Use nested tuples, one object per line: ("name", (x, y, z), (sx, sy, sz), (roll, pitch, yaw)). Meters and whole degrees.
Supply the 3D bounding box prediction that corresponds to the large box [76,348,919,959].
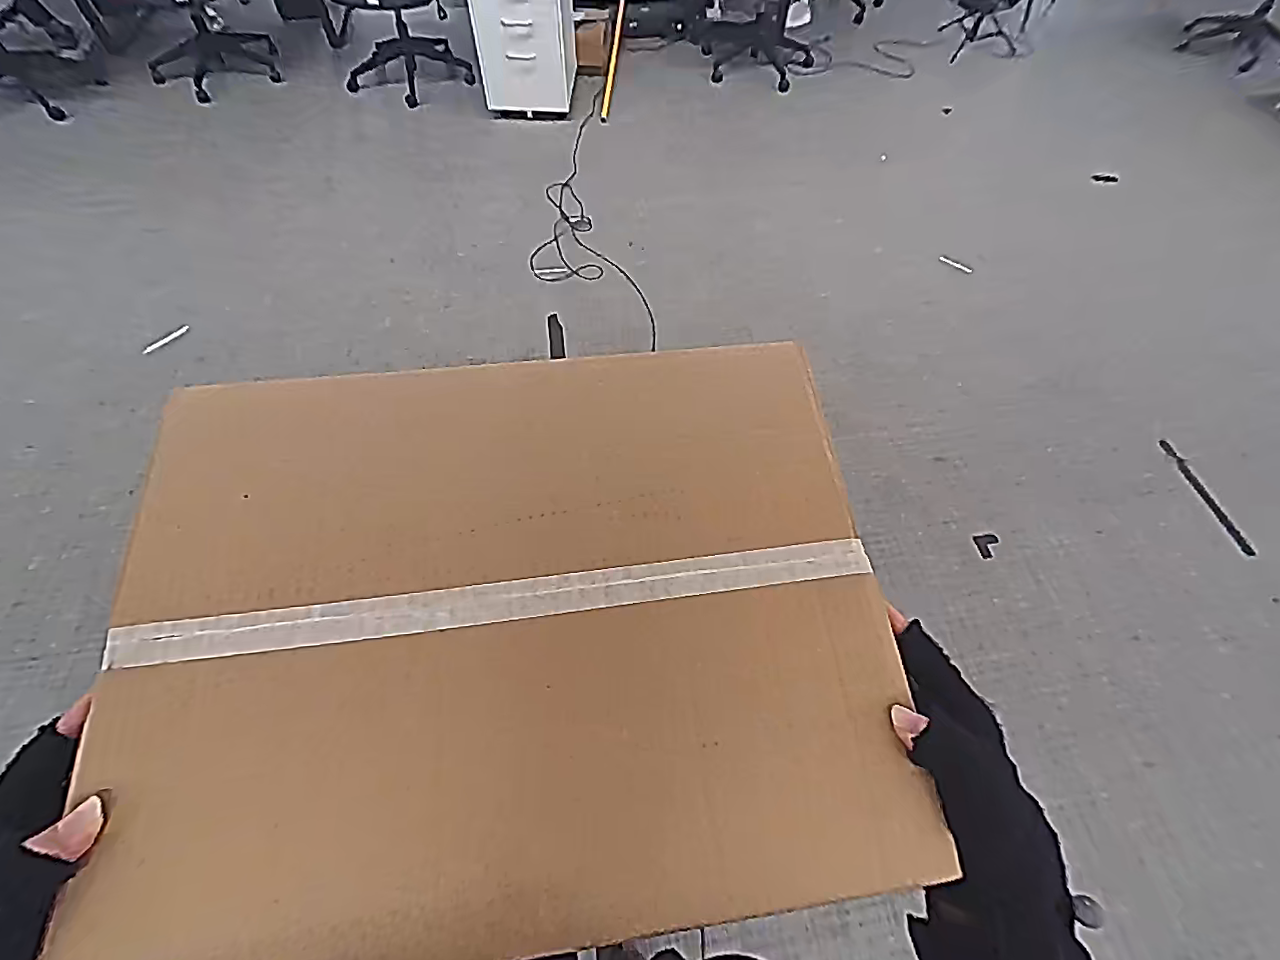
("large box", (-0.079, 0.125, 0.445), (0.408, 0.320, 0.320), (-6, 67, -5))
